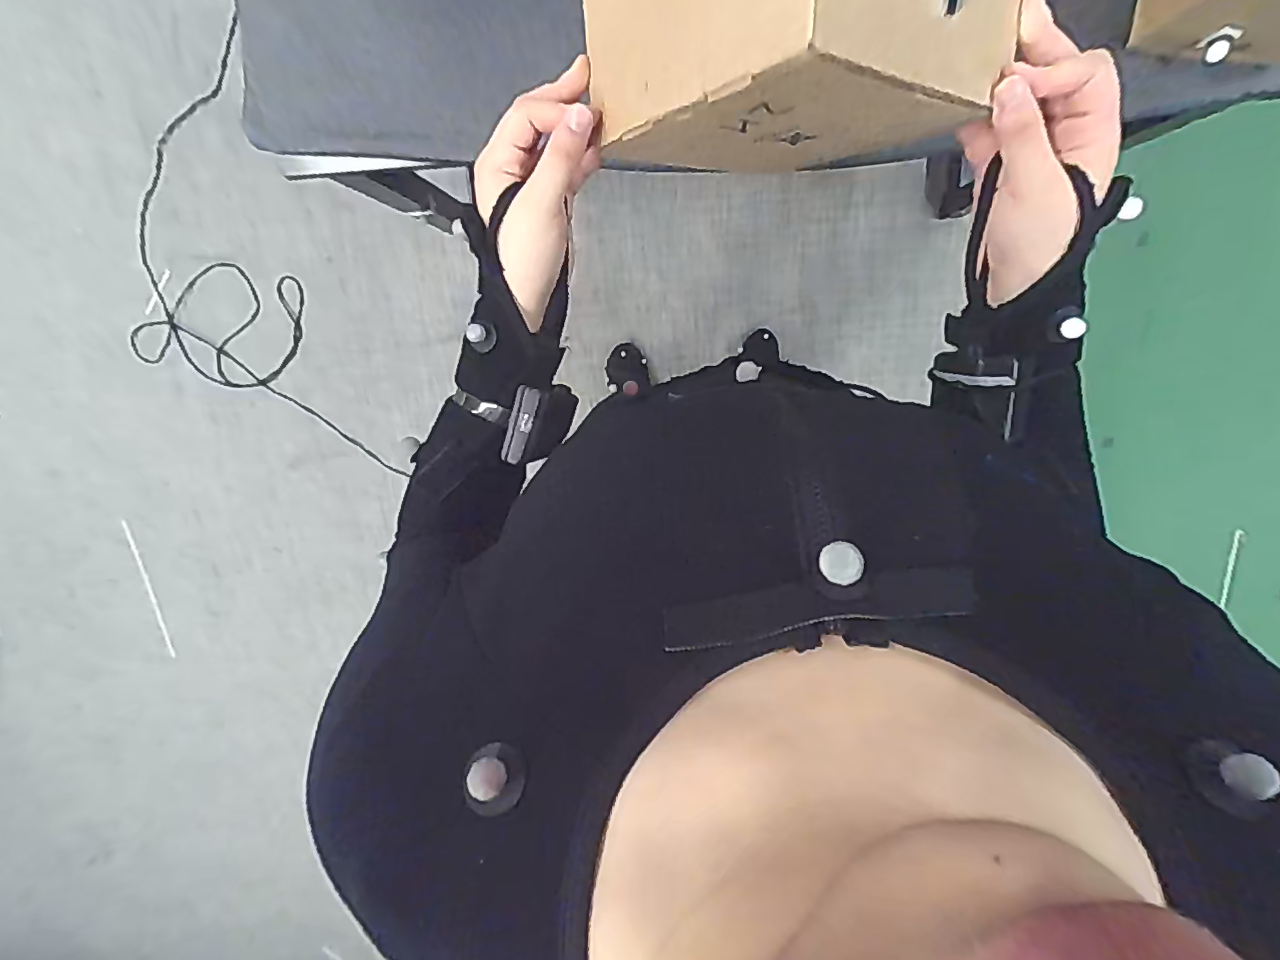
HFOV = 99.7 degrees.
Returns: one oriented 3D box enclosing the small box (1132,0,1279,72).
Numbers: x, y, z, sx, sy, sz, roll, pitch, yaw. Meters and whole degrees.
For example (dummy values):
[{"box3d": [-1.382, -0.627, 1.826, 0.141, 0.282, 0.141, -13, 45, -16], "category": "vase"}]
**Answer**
[{"box3d": [0.615, -0.522, 0.496, 0.168, 0.176, 0.179, 6, 102, 3], "category": "small box"}]
